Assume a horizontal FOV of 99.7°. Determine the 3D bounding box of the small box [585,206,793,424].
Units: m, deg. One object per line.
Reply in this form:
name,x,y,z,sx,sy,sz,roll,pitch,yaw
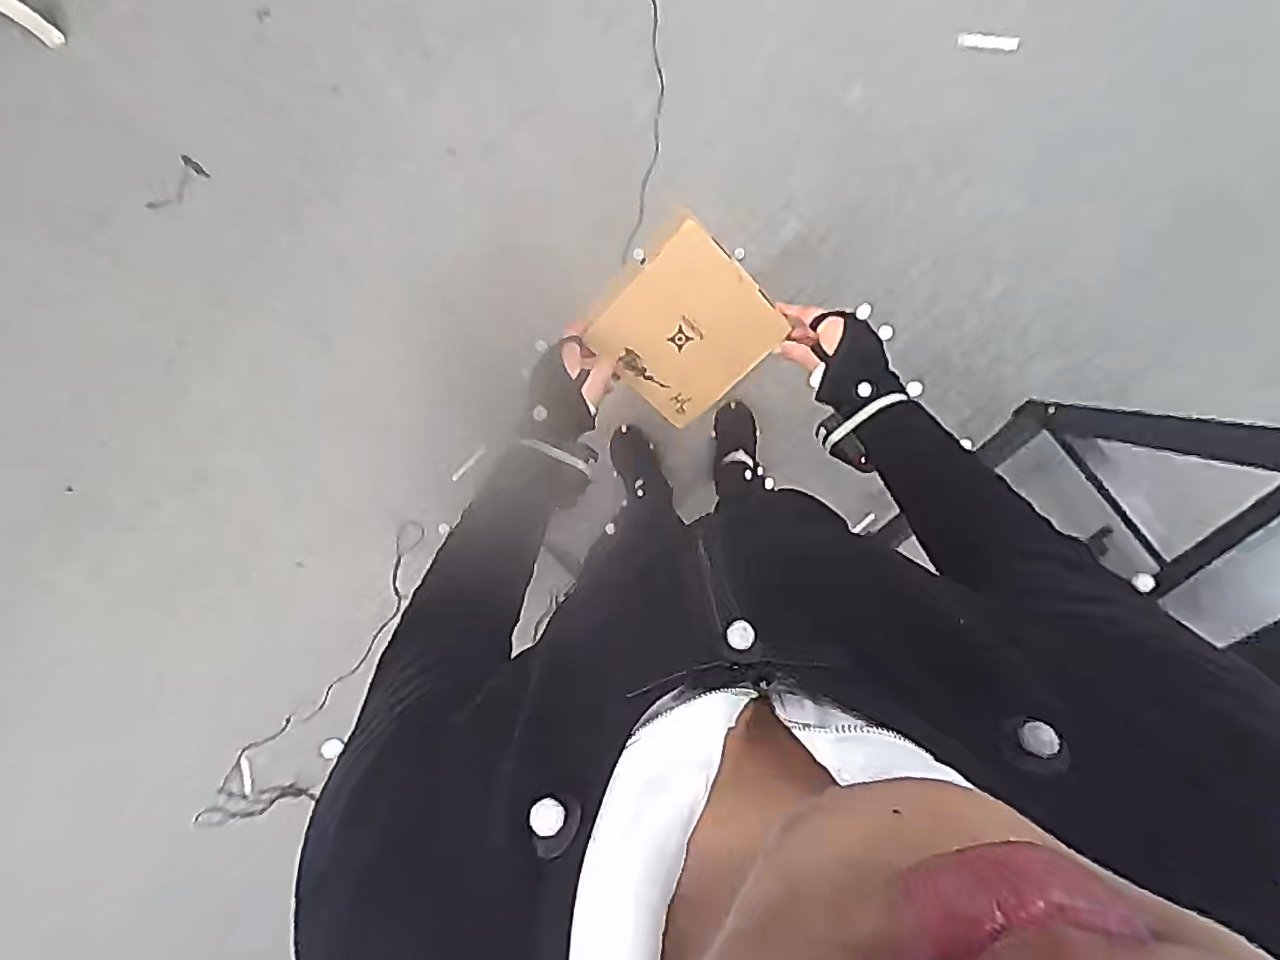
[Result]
small box,0.051,-0.208,0.663,0.168,0.176,0.179,39,112,-21
